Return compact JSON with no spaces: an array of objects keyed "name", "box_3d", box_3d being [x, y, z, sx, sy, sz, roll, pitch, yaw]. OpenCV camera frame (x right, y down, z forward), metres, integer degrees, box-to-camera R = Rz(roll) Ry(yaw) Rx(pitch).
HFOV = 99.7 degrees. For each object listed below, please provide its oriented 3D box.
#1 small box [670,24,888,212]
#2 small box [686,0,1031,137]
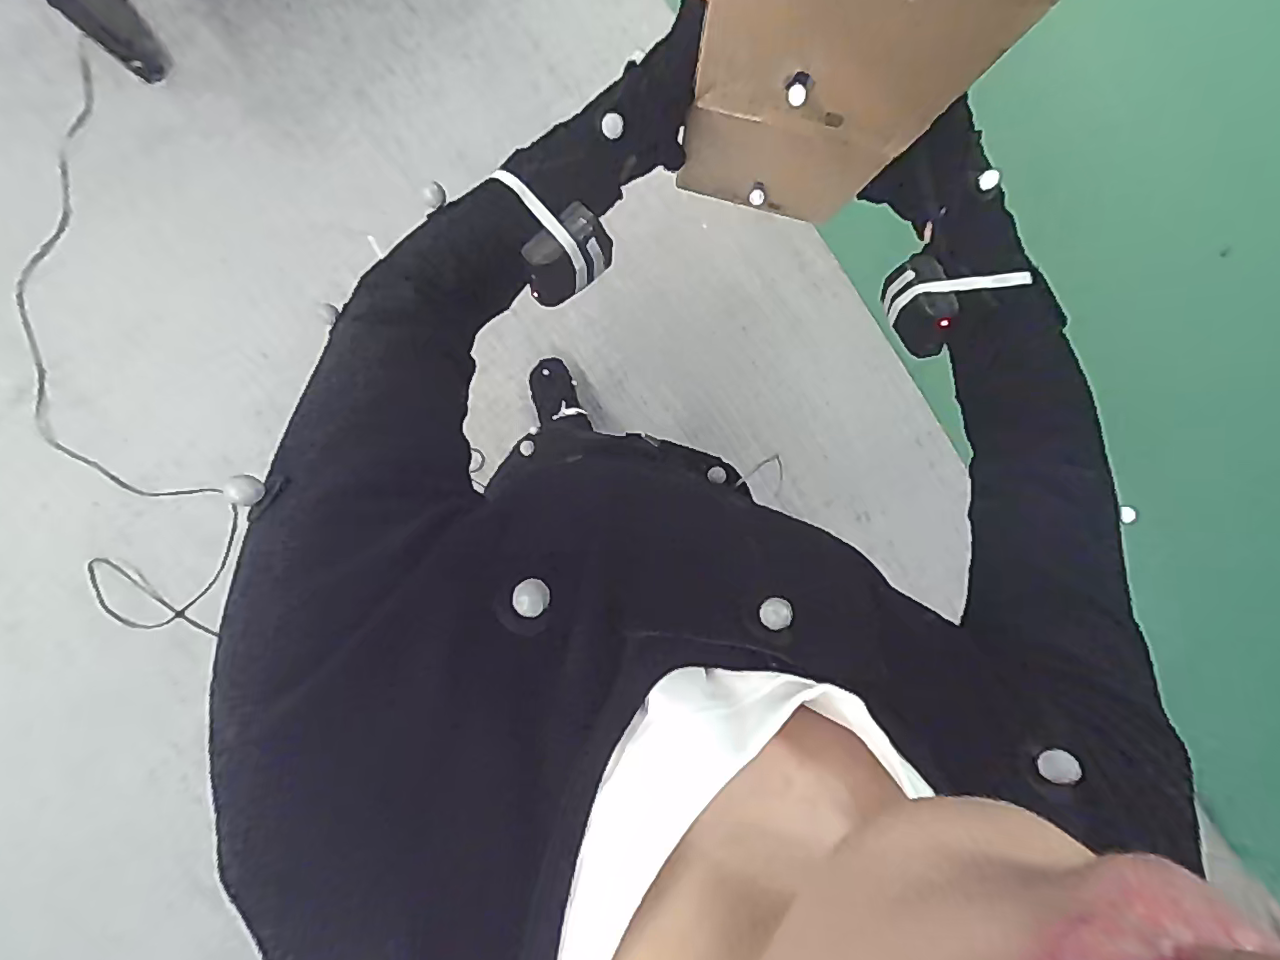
[{"name":"small box","box_3d":[0.125,-0.366,0.469,0.168,0.176,0.179,14,99,-2]},{"name":"small box","box_3d":[0.127,-0.340,0.309,0.168,0.176,0.179,12,100,-2]}]
